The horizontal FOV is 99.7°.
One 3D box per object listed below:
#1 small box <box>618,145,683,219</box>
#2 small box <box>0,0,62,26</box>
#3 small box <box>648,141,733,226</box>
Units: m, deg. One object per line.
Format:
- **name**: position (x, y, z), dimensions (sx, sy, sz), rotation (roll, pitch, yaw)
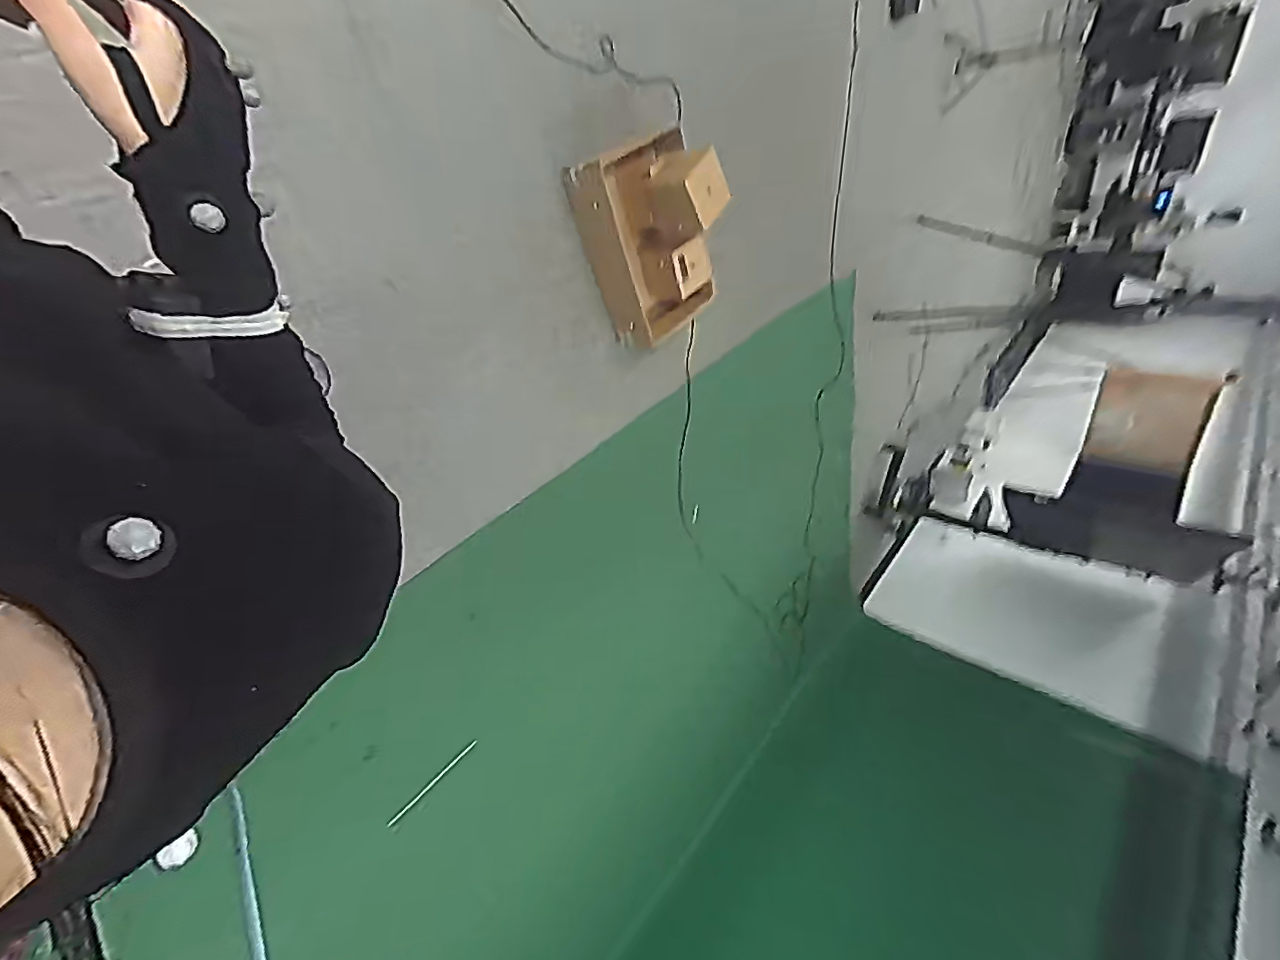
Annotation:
- **small box**: position (0.052, -0.991, 1.807), dimensions (0.168, 0.176, 0.179), rotation (-42, 134, -26)
- **small box**: position (-0.364, -0.336, 0.221), dimensions (0.168, 0.176, 0.179), rotation (-3, 115, -52)
- **small box**: position (0.157, -0.928, 1.699), dimensions (0.168, 0.176, 0.179), rotation (-55, 138, -14)
